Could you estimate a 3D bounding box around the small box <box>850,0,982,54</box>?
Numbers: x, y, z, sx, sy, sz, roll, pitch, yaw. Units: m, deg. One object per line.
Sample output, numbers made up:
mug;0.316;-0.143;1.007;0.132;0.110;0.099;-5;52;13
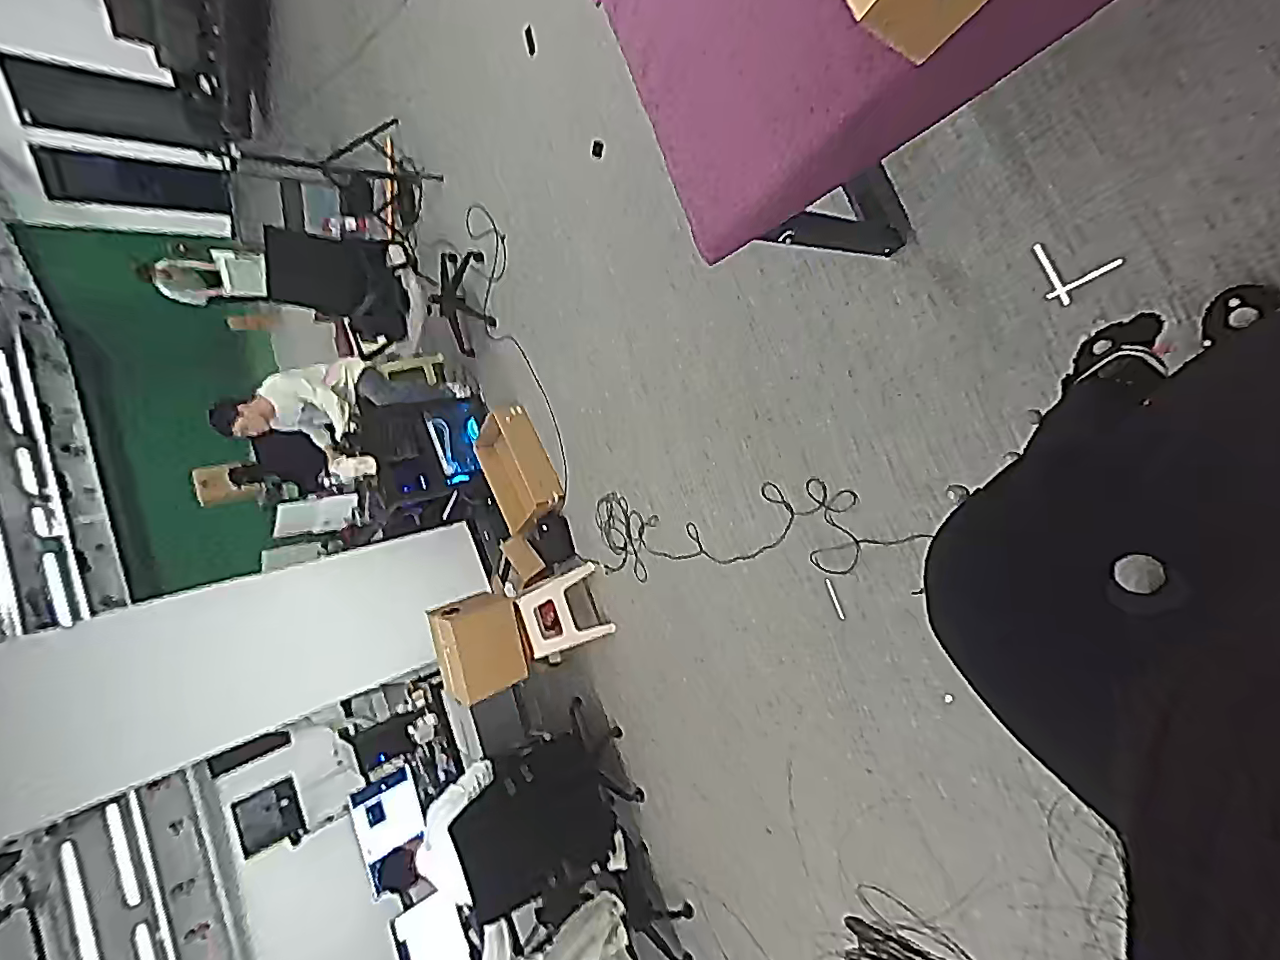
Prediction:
small box;0.317;-0.620;0.583;0.179;0.176;0.168;-31;77;50
